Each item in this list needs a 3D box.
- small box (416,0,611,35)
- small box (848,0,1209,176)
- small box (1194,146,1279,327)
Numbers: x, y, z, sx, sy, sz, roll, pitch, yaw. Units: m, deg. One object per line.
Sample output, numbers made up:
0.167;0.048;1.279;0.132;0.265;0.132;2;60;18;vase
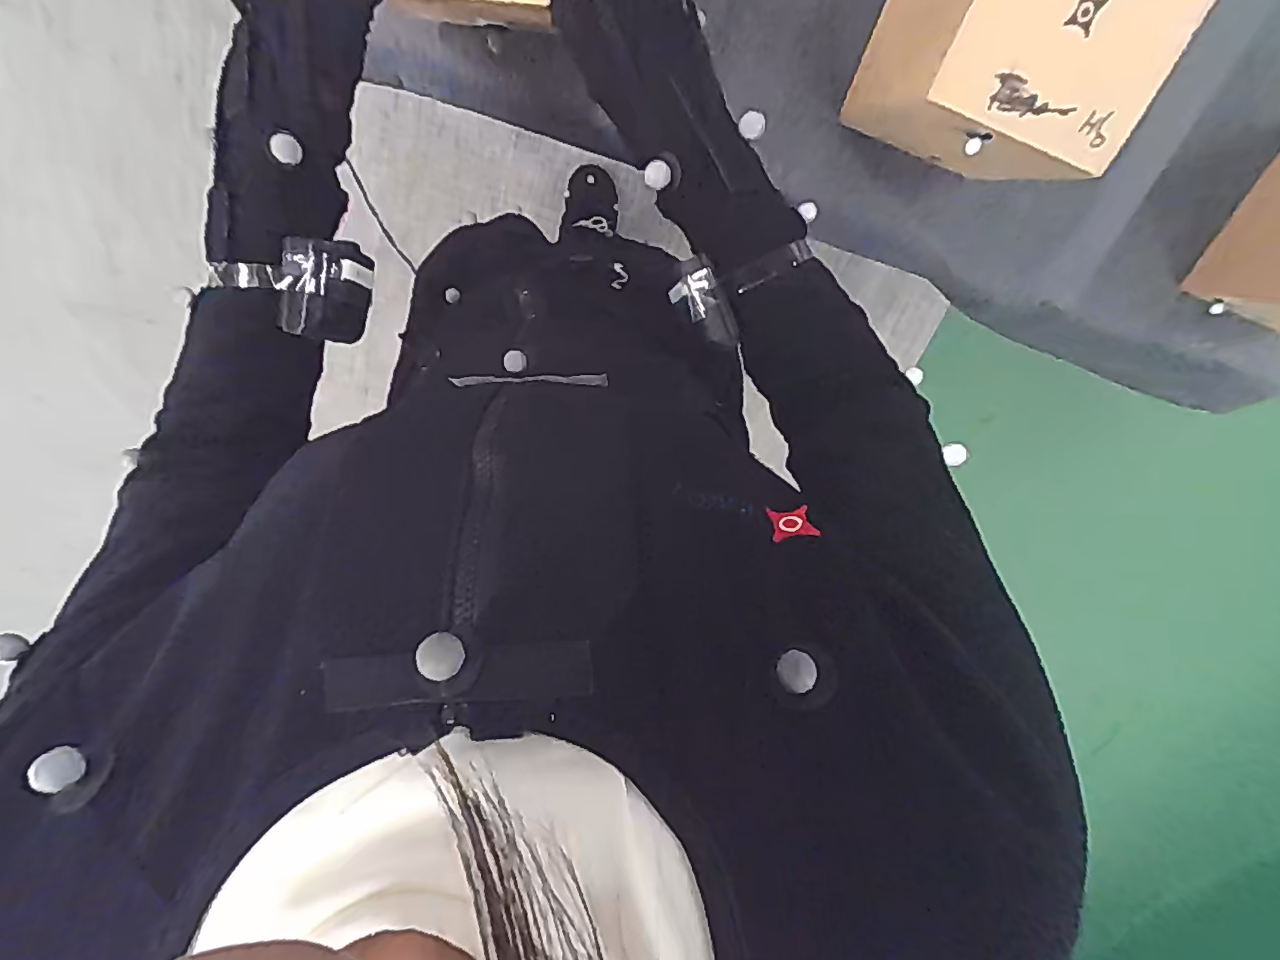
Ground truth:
-0.093;-0.401;0.327;0.168;0.176;0.179;4;124;-5;small box
0.300;-0.368;0.436;0.168;0.176;0.179;14;116;-12;small box
0.731;-0.243;0.539;0.168;0.176;0.179;15;116;-12;small box
